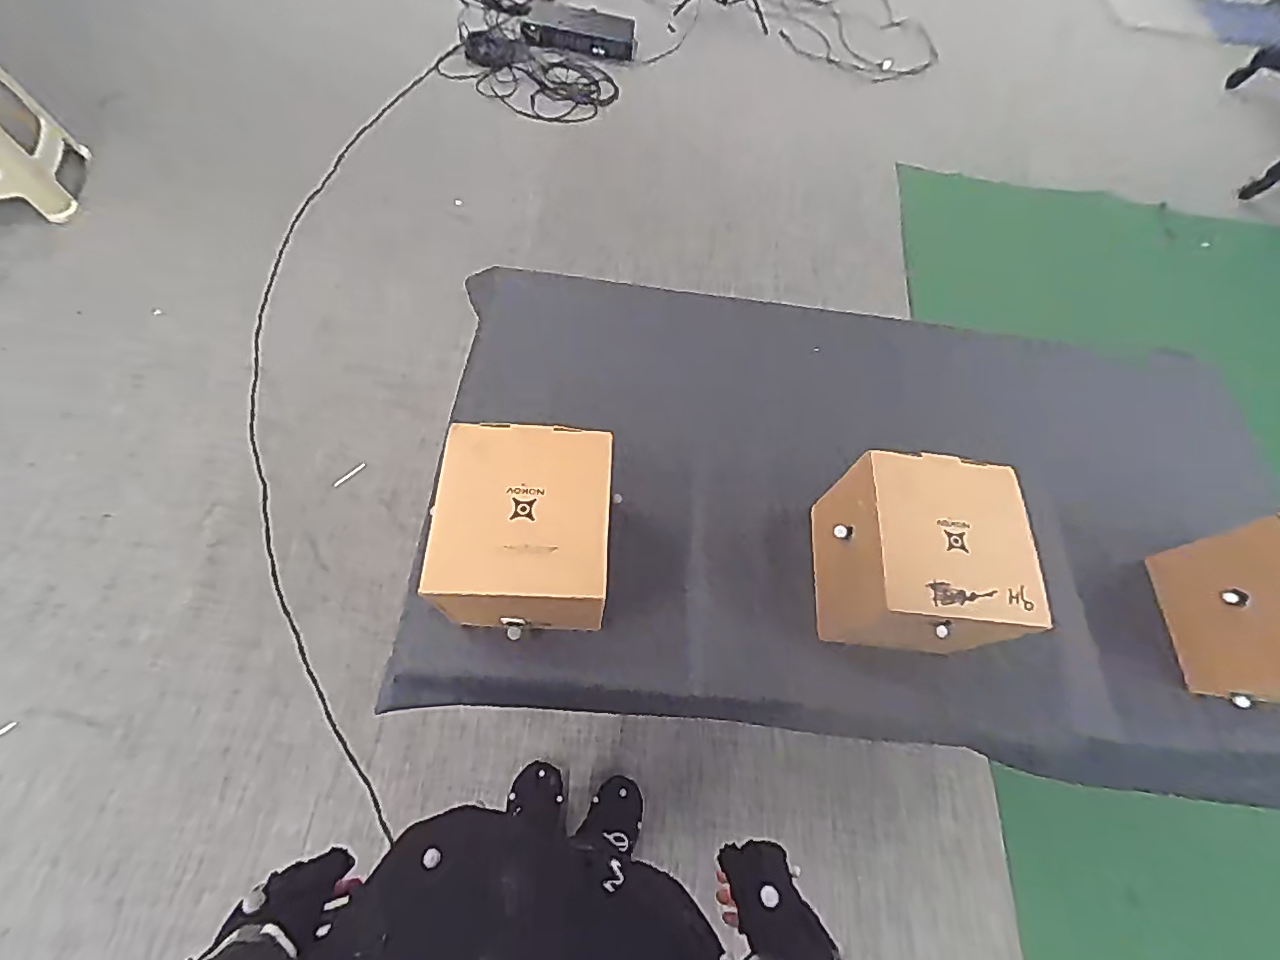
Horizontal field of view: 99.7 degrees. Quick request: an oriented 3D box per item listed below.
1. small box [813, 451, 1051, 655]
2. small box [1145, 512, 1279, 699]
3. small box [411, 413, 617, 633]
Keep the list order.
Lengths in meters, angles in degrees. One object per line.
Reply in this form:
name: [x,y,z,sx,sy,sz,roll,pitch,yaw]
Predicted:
small box: [0.309,0.090,0.618,0.168,0.176,0.179,7,63,-3]
small box: [0.765,0.157,0.633,0.168,0.176,0.179,7,62,-2]
small box: [-0.115,0.053,0.568,0.168,0.176,0.179,4,64,-2]
